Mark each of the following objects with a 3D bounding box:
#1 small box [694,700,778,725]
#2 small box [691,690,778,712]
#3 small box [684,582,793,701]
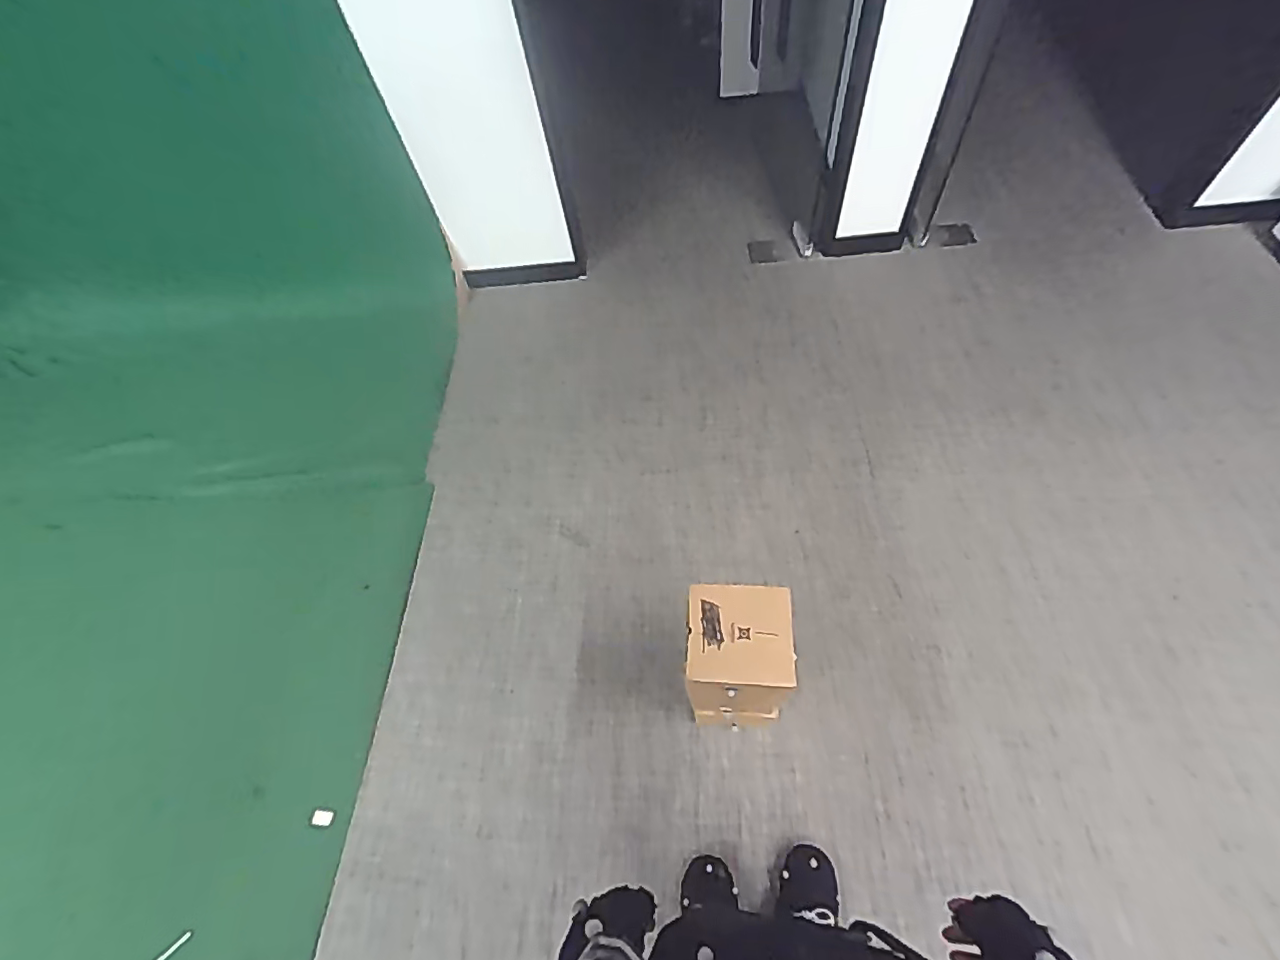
[{"bbox_3d":[0.216,0.464,1.248,0.179,0.176,0.168,0,59,7],"label":"small box"},{"bbox_3d":[0.191,0.371,1.116,0.168,0.176,0.179,-1,60,9],"label":"small box"},{"bbox_3d":[0.175,0.294,0.972,0.179,0.176,0.168,1,59,9],"label":"small box"}]
